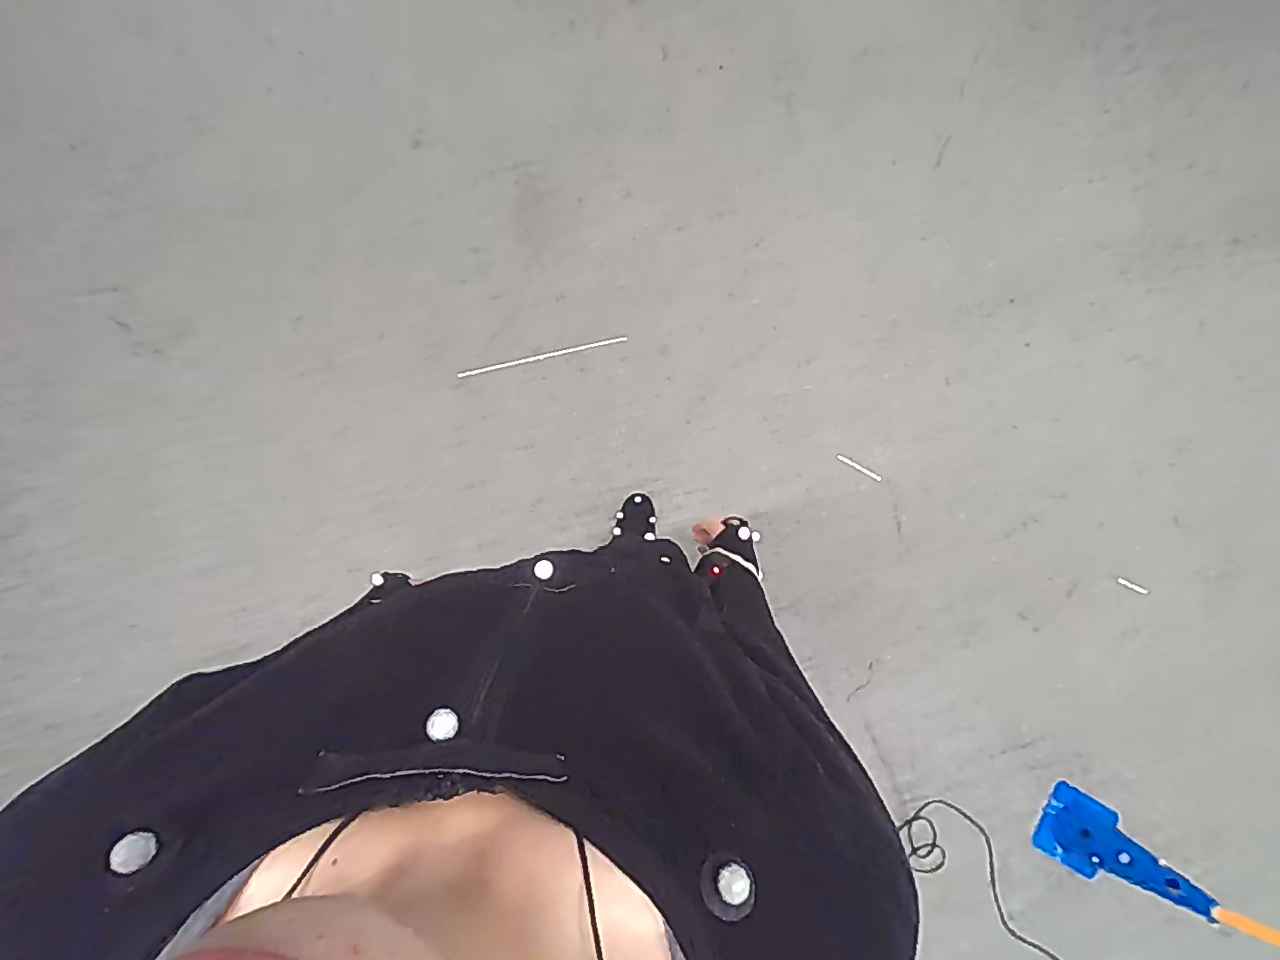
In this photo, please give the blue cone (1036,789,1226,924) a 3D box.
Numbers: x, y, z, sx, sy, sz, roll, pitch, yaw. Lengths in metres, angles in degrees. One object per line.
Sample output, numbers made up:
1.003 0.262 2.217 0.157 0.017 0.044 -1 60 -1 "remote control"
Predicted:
1.212 0.952 1.336 0.192 0.380 0.193 30 80 0 "blue cone"
